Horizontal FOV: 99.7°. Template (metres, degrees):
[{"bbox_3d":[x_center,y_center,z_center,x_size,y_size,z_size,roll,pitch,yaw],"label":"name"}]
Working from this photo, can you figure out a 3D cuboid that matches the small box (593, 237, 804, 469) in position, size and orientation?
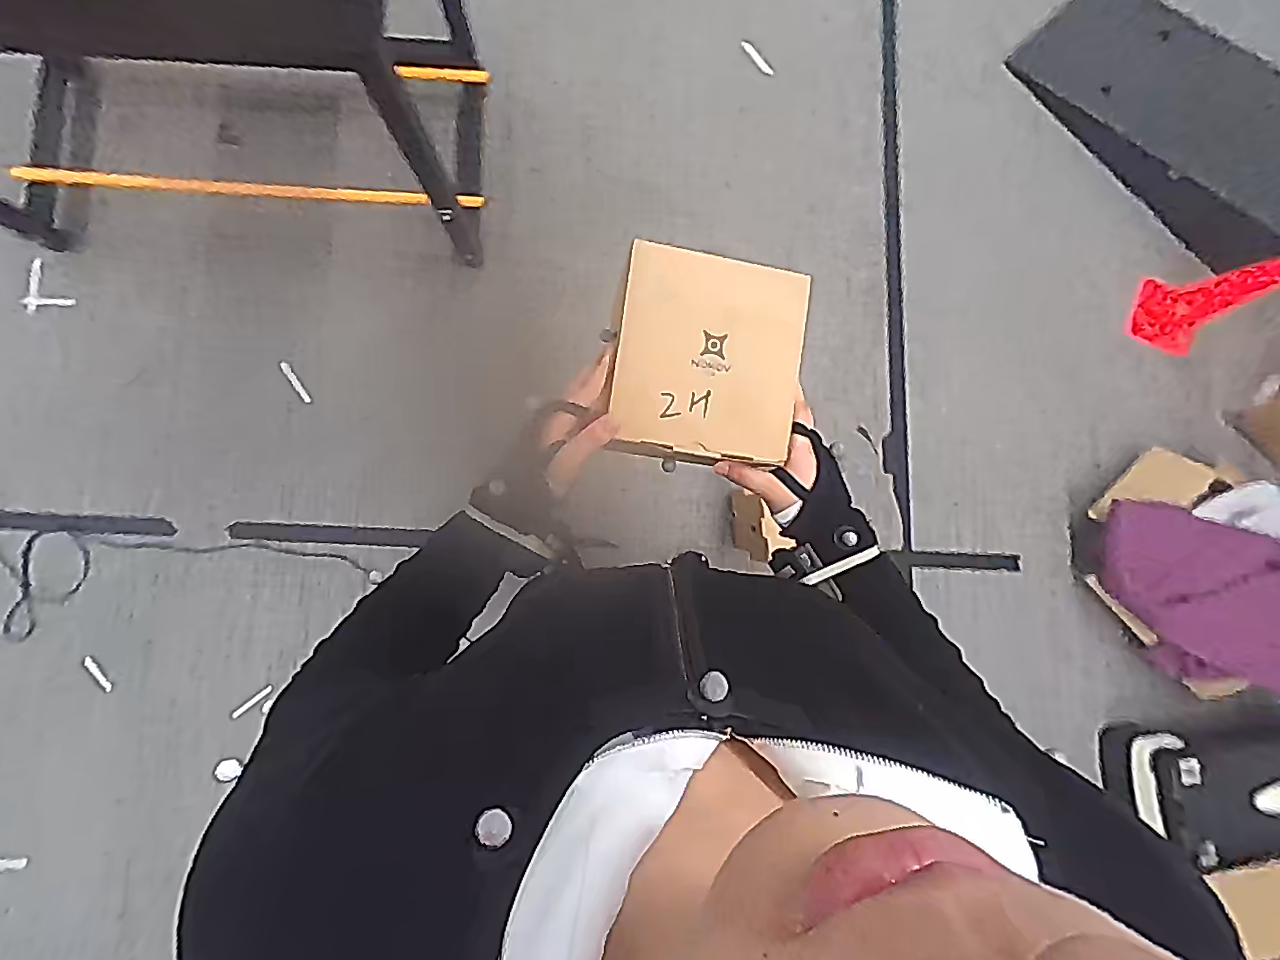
[{"bbox_3d":[0.046,-0.111,0.550,0.168,0.176,0.179,8,88,-8],"label":"small box"}]

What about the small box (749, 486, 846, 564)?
[{"bbox_3d":[0.364,0.110,1.284,0.179,0.176,0.168,-5,84,-3],"label":"small box"}]

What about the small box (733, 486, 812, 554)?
[{"bbox_3d":[0.358,0.107,1.449,0.179,0.176,0.168,-4,84,-2],"label":"small box"}]
